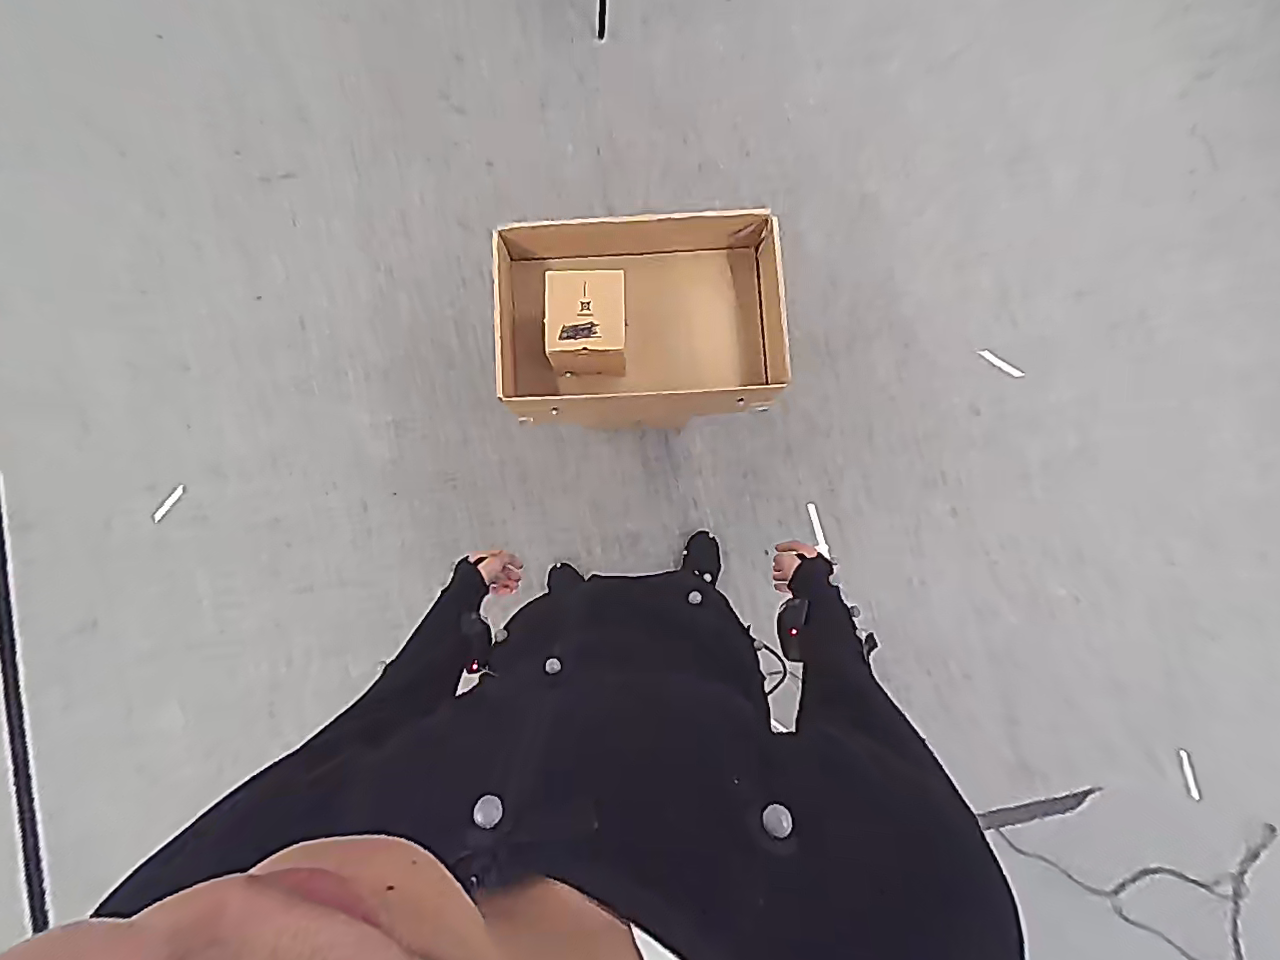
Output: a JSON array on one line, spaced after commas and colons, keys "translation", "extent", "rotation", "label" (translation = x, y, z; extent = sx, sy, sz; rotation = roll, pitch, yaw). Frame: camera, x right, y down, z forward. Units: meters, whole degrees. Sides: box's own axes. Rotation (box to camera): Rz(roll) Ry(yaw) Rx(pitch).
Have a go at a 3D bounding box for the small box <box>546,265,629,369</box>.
[{"translation": [-0.109, -0.349, 1.186], "extent": [0.168, 0.176, 0.179], "rotation": [0, 84, 0], "label": "small box"}]
